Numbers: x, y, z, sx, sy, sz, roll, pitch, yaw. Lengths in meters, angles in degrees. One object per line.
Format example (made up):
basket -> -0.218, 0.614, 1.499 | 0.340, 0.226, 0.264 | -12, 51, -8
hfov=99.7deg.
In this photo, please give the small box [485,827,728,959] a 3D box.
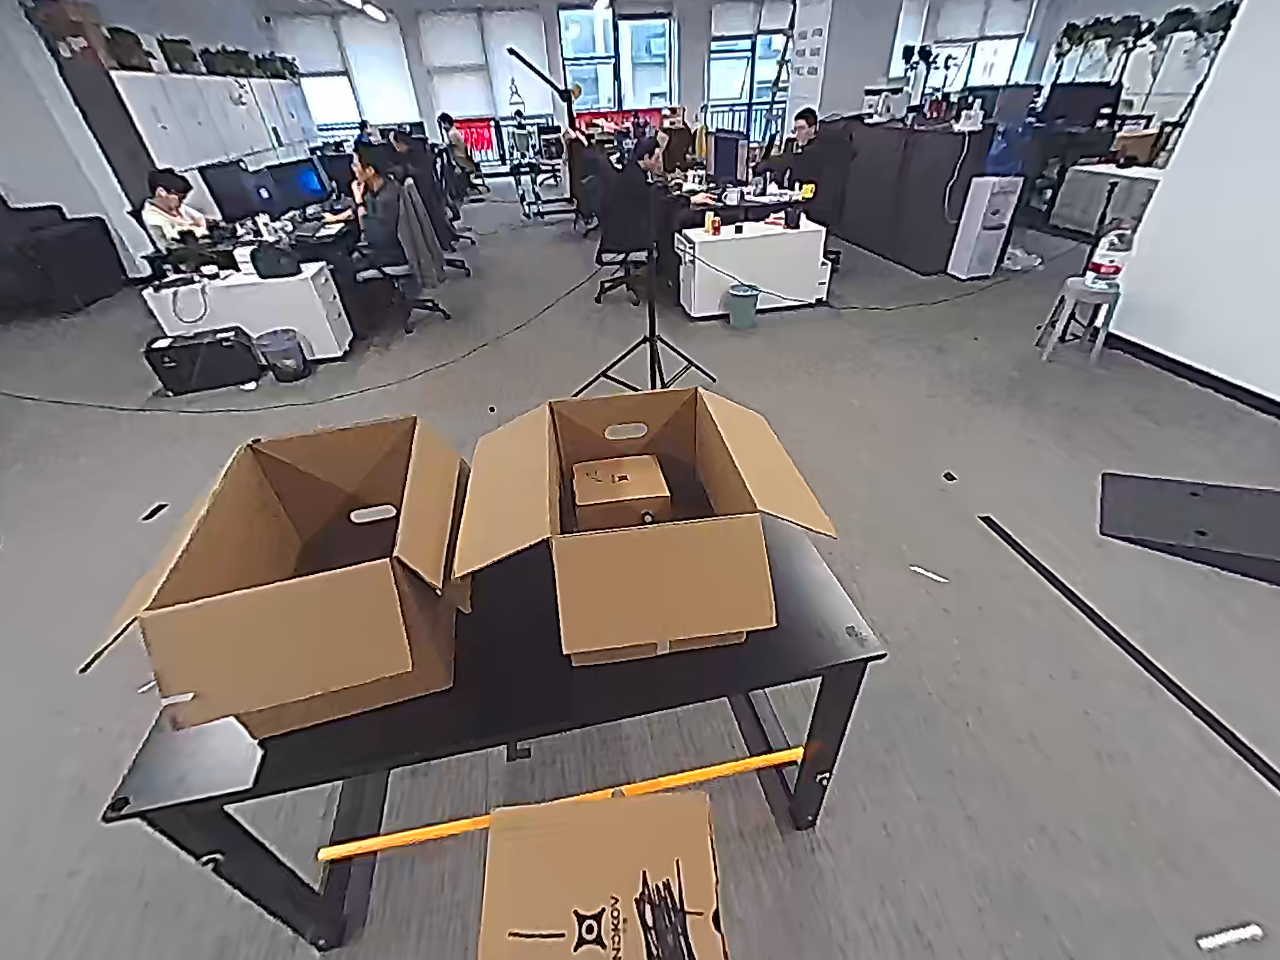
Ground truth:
small box -> -0.022, 0.395, 0.444 | 0.179, 0.176, 0.168 | -4, 50, -1
